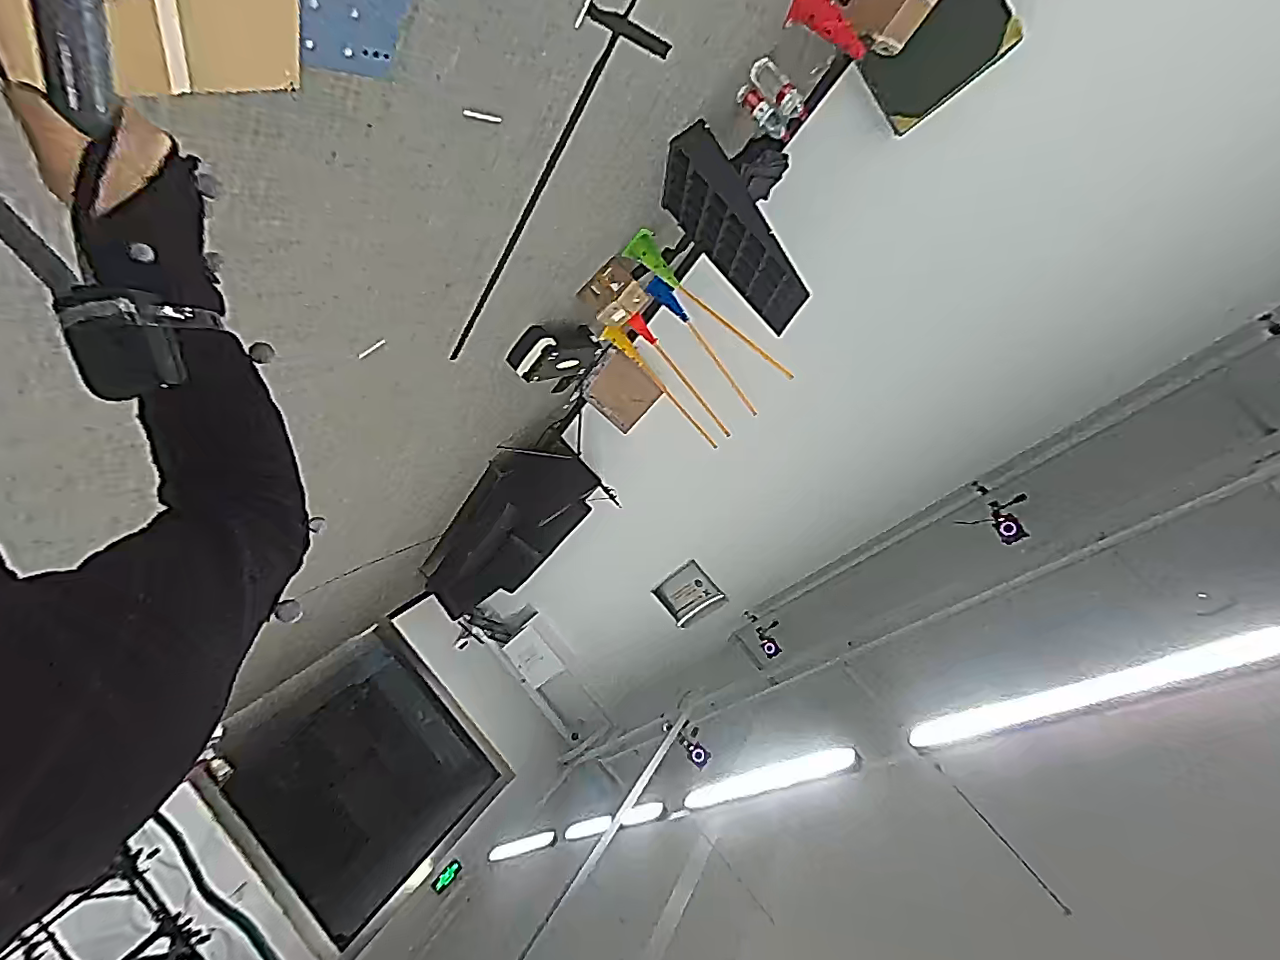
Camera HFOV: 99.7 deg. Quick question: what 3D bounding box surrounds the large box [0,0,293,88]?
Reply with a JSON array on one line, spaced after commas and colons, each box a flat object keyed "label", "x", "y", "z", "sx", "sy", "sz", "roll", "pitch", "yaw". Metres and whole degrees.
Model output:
[{"label": "large box", "x": -0.593, "y": -0.696, "z": 0.529, "sx": 0.320, "sy": 0.320, "sz": 0.408, "roll": -40, "pitch": 178, "yaw": -41}]
